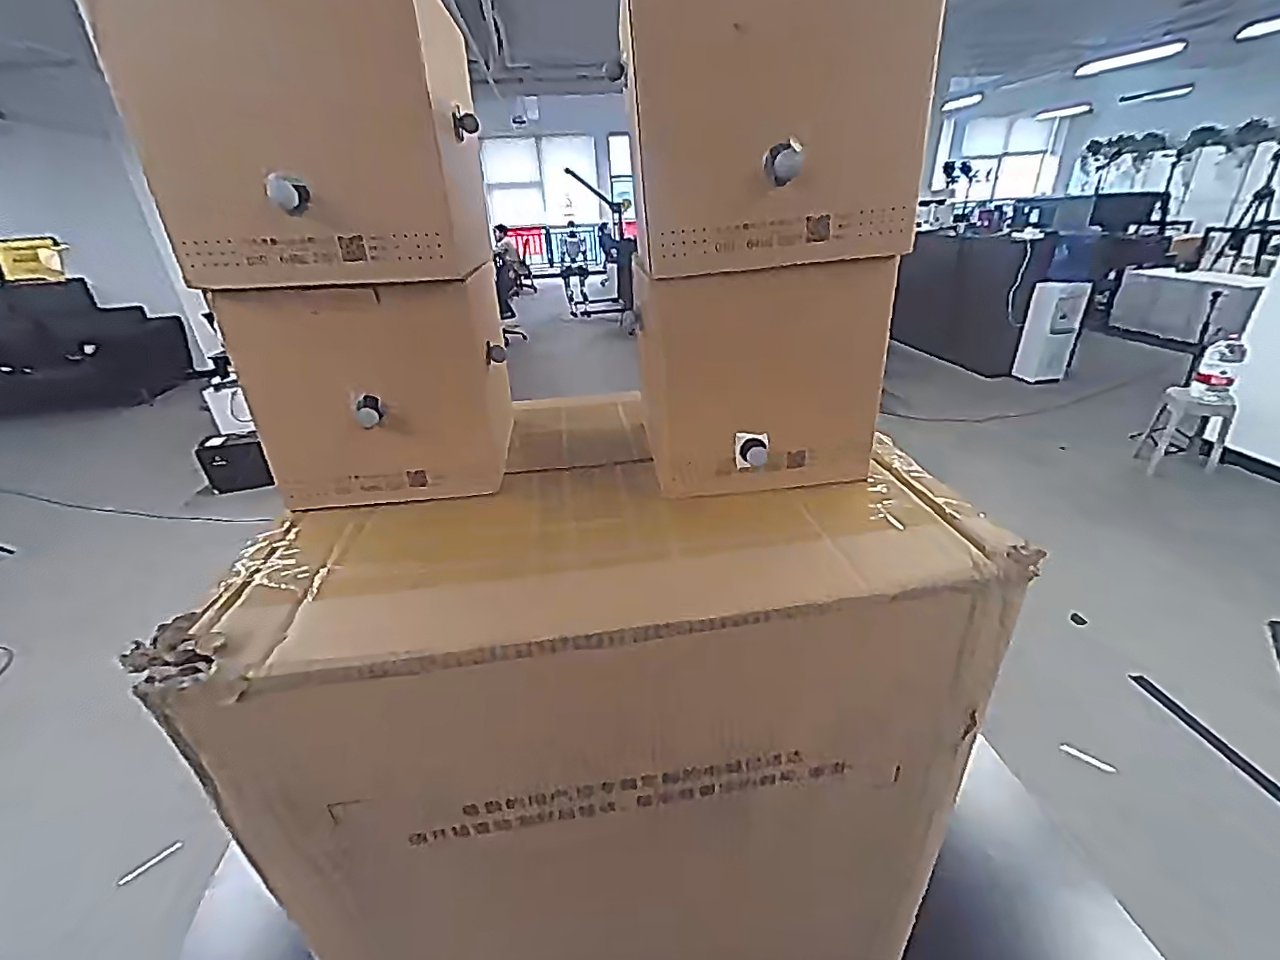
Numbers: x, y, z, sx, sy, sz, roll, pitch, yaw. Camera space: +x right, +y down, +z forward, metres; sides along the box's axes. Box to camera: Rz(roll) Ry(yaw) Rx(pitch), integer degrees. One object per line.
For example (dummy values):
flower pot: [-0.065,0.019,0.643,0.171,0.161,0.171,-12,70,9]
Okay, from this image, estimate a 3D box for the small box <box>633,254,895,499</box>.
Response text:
small box: [0.086,-0.102,0.461,0.168,0.176,0.179,-7,29,-2]

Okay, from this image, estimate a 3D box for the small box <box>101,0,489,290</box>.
small box: [-0.208,-0.233,0.381,0.168,0.176,0.179,-5,28,-5]

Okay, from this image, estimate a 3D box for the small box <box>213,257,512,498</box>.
small box: [-0.208,-0.093,0.470,0.168,0.176,0.179,-5,28,-7]

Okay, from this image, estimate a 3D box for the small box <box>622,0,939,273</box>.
small box: [0.075,-0.244,0.378,0.168,0.176,0.179,-6,28,0]
